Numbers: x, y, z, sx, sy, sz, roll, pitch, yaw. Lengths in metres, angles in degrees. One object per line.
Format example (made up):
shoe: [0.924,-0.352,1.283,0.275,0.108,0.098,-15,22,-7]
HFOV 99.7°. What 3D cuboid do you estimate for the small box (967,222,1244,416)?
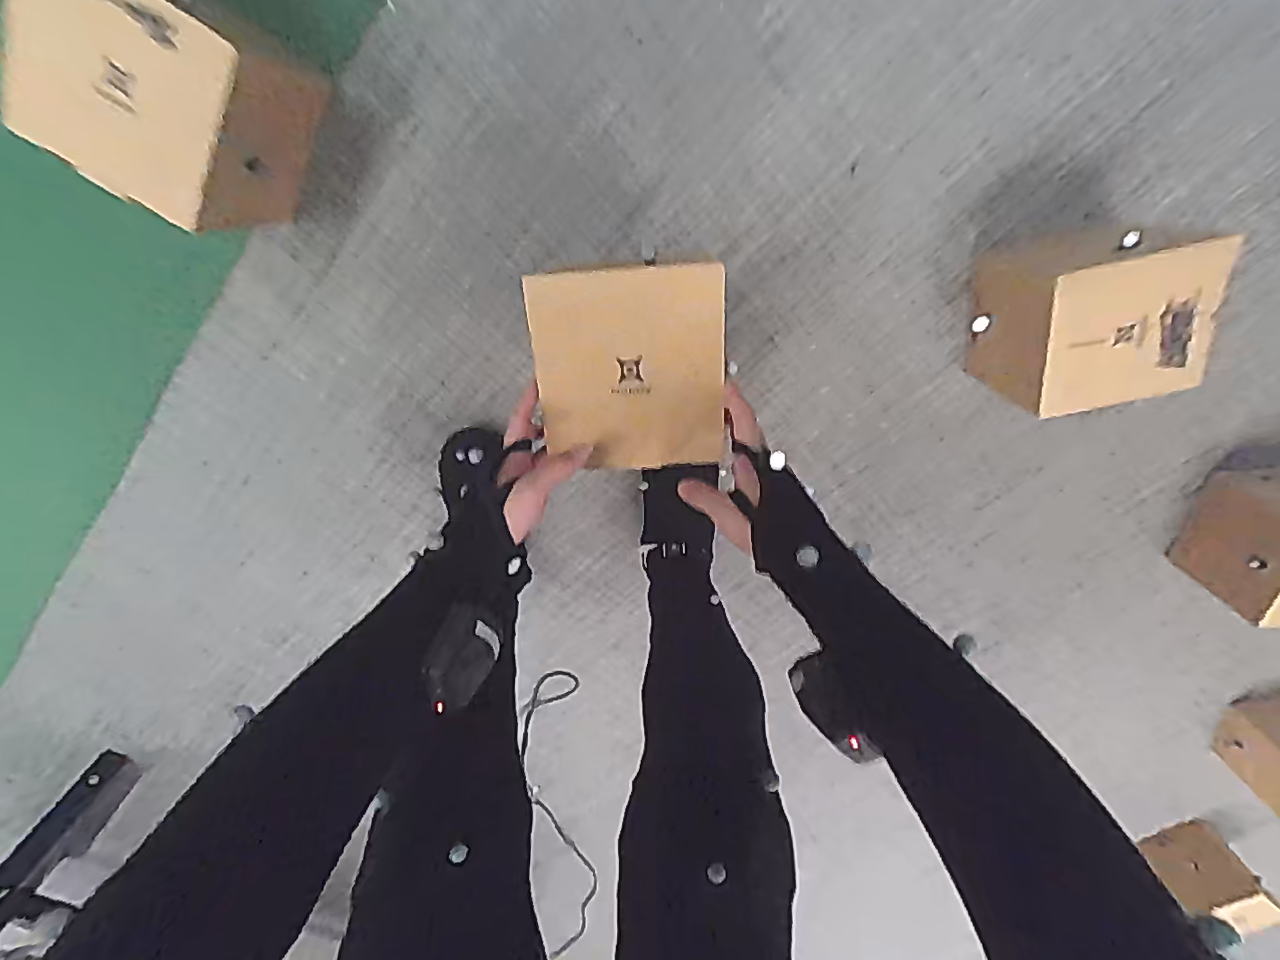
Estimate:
small box: [0.530,-0.199,0.648,0.179,0.176,0.168,-12,118,8]

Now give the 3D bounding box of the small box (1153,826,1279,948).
small box: [1.404,0.968,1.295,0.179,0.176,0.168,36,114,-18]

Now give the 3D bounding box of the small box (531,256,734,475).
small box: [-0.001,-0.122,0.535,0.168,0.176,0.179,-4,116,3]
